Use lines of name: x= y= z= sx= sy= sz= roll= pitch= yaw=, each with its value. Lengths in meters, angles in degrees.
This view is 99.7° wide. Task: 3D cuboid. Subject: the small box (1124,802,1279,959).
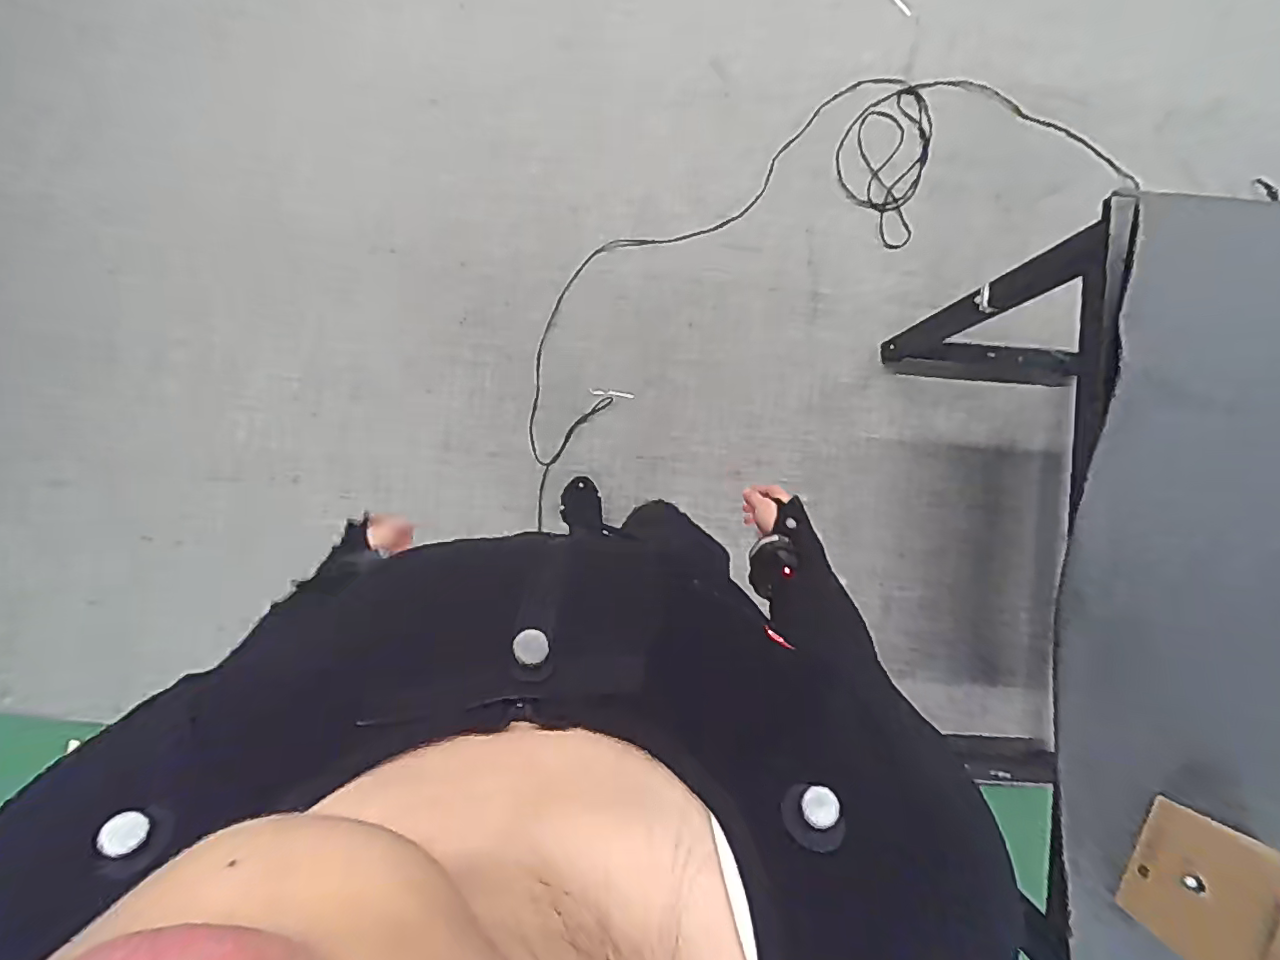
small box: x=0.790 y=0.554 z=0.692 sx=0.179 sy=0.176 sz=0.168 roll=25 pitch=88 yaw=-4
